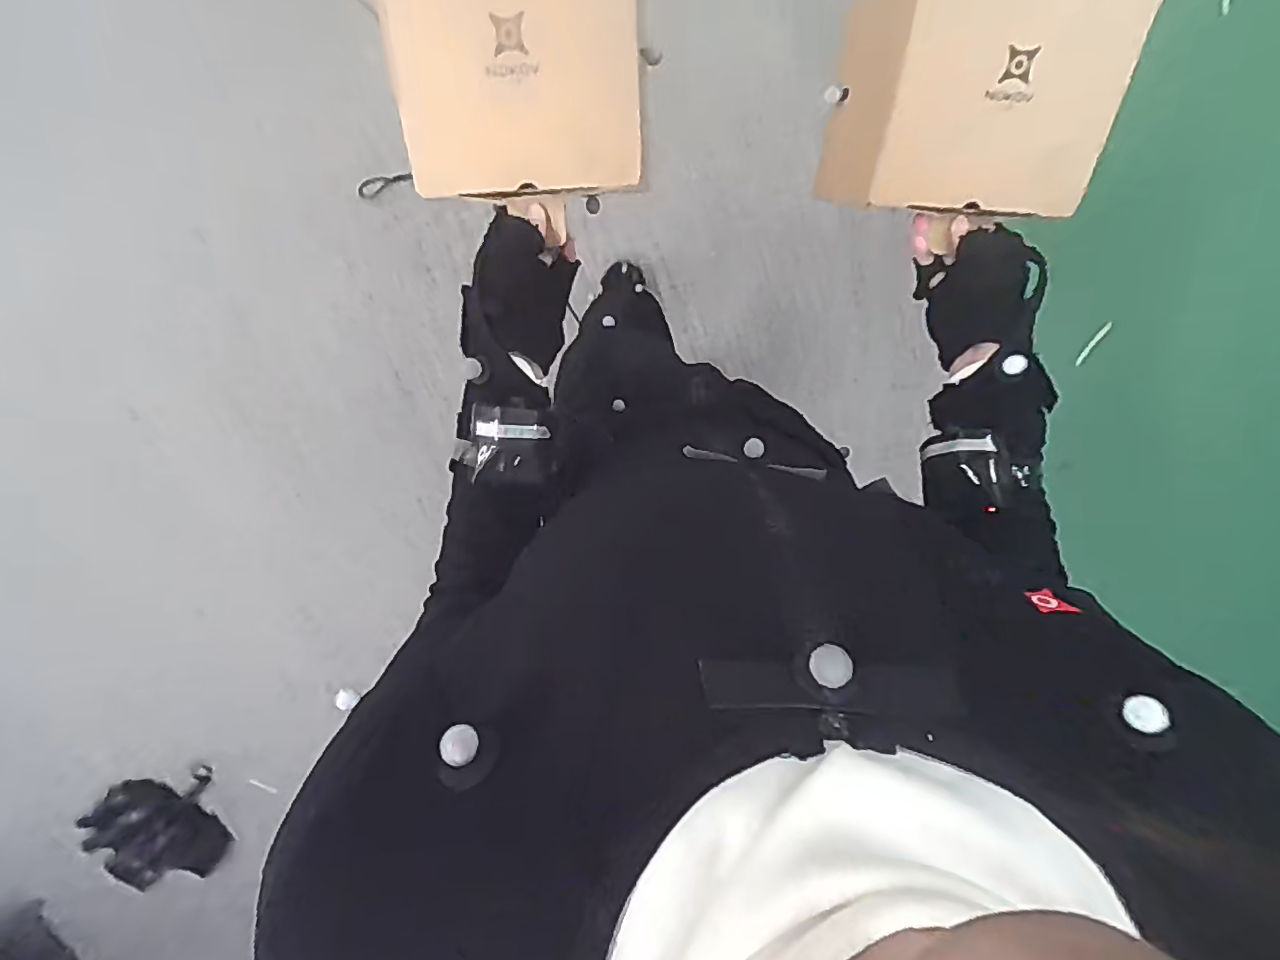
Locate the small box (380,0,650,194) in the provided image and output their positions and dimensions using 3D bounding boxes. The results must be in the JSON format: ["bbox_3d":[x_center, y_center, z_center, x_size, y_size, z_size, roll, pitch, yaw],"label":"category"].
[{"bbox_3d":[-0.079,-0.326,0.420,0.168,0.176,0.179,-2,117,3],"label":"small box"}]
